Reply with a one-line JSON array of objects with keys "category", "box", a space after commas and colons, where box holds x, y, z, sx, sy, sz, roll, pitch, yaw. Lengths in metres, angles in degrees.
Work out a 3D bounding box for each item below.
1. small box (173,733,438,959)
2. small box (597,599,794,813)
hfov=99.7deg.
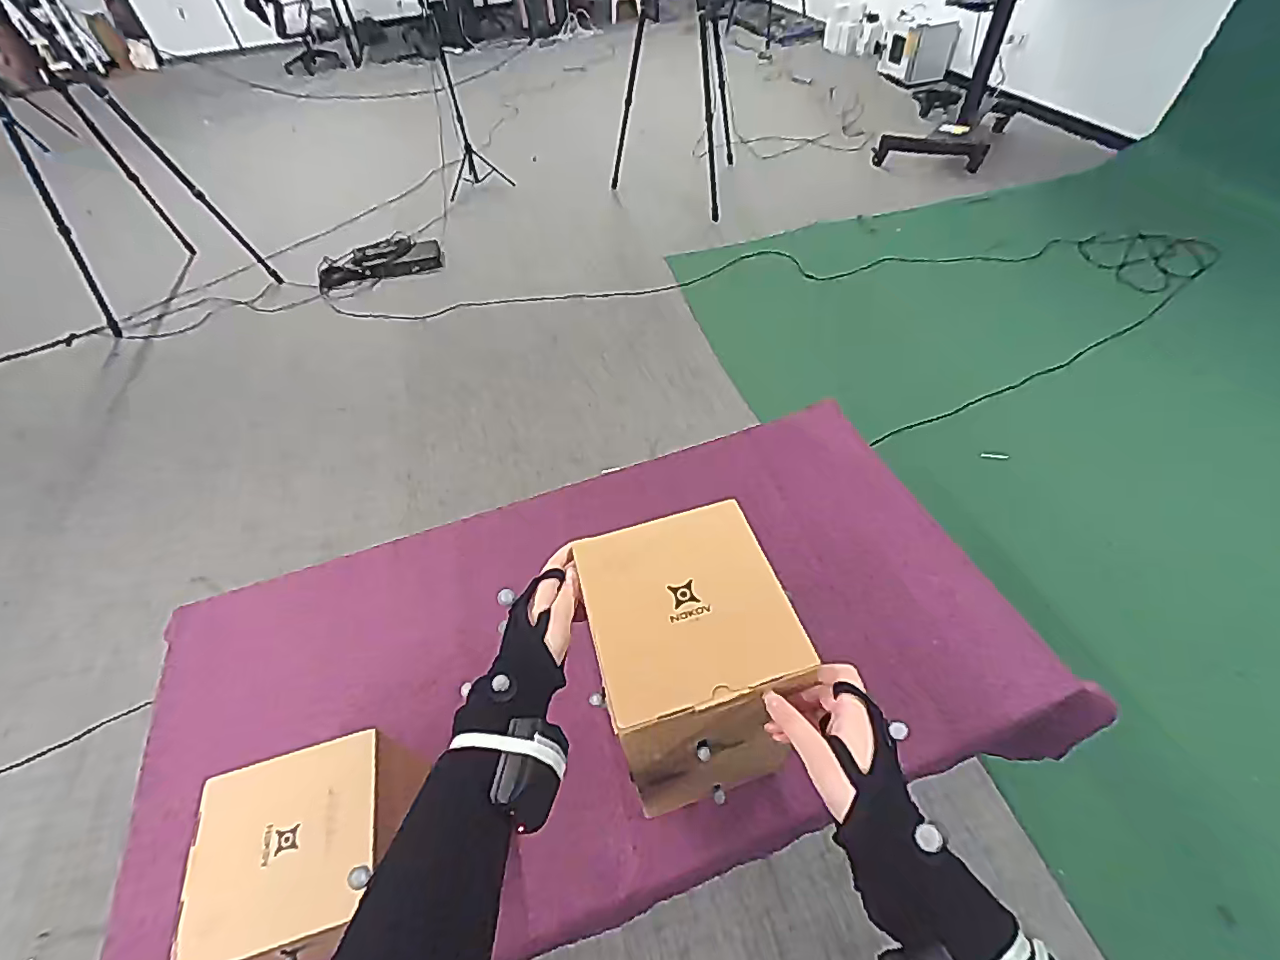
[{"category": "small box", "box": [-0.337, 0.403, 0.582, 0.179, 0.176, 0.168, -15, 51, -8]}, {"category": "small box", "box": [0.058, 0.275, 0.654, 0.179, 0.176, 0.168, -16, 50, -9]}]
